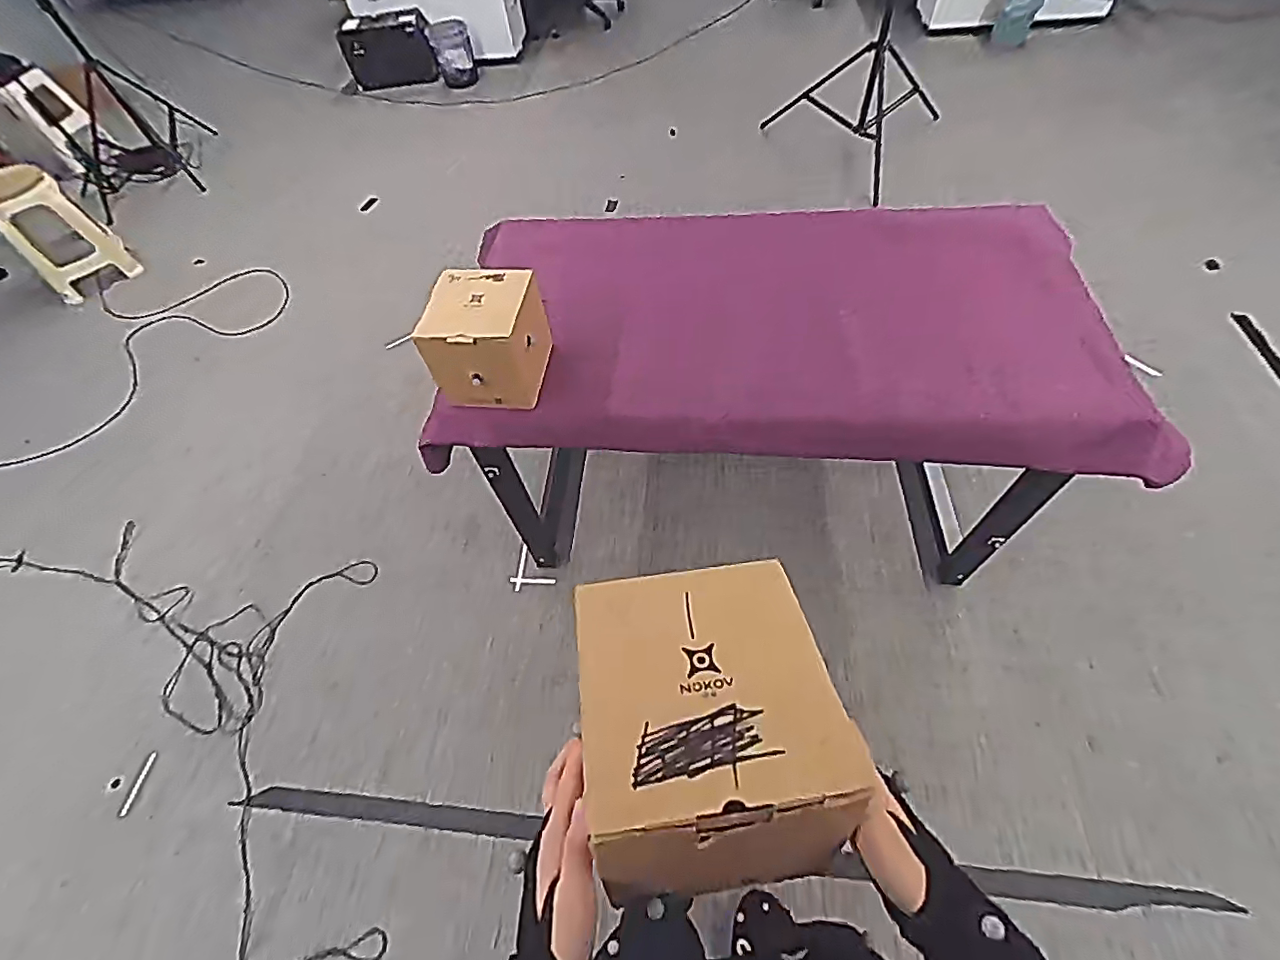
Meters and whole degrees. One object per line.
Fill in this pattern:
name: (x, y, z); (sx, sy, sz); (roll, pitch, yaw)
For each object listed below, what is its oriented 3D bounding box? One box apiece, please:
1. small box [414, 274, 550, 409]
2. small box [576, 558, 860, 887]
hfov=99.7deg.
small box: (-0.268, -0.242, 0.965); (0.168, 0.176, 0.179); (3, 57, 7)
small box: (0.044, 0.189, 0.420); (0.168, 0.176, 0.179); (-7, 40, -4)
